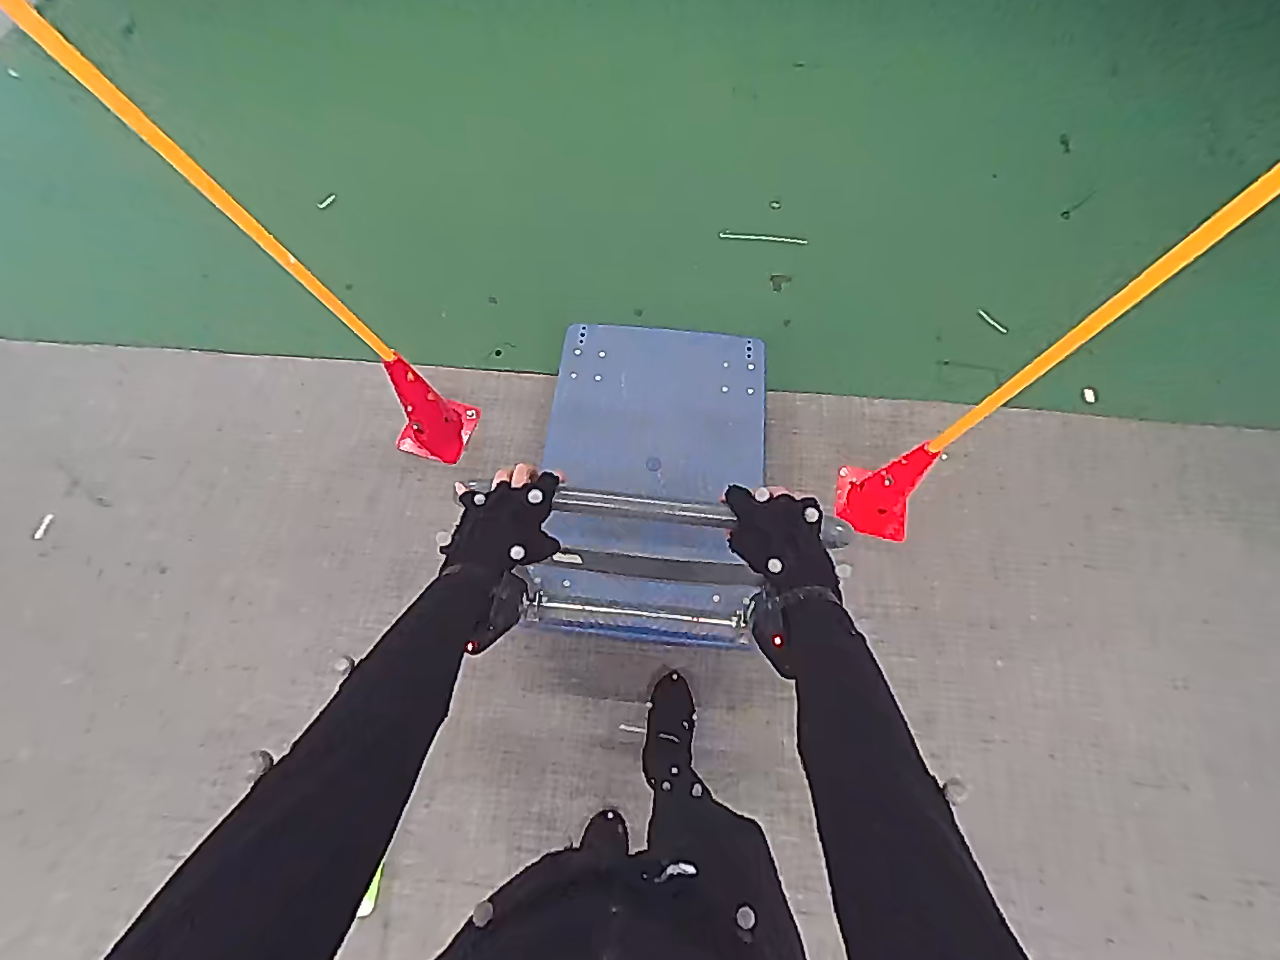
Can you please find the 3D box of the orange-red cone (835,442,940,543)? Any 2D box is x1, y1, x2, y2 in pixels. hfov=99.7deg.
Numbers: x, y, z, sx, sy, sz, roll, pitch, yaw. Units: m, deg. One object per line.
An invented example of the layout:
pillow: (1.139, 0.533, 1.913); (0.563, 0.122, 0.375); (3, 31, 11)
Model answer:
orange-red cone: (0.666, 0.002, 1.390); (0.198, 0.360, 0.199); (14, 67, 6)
